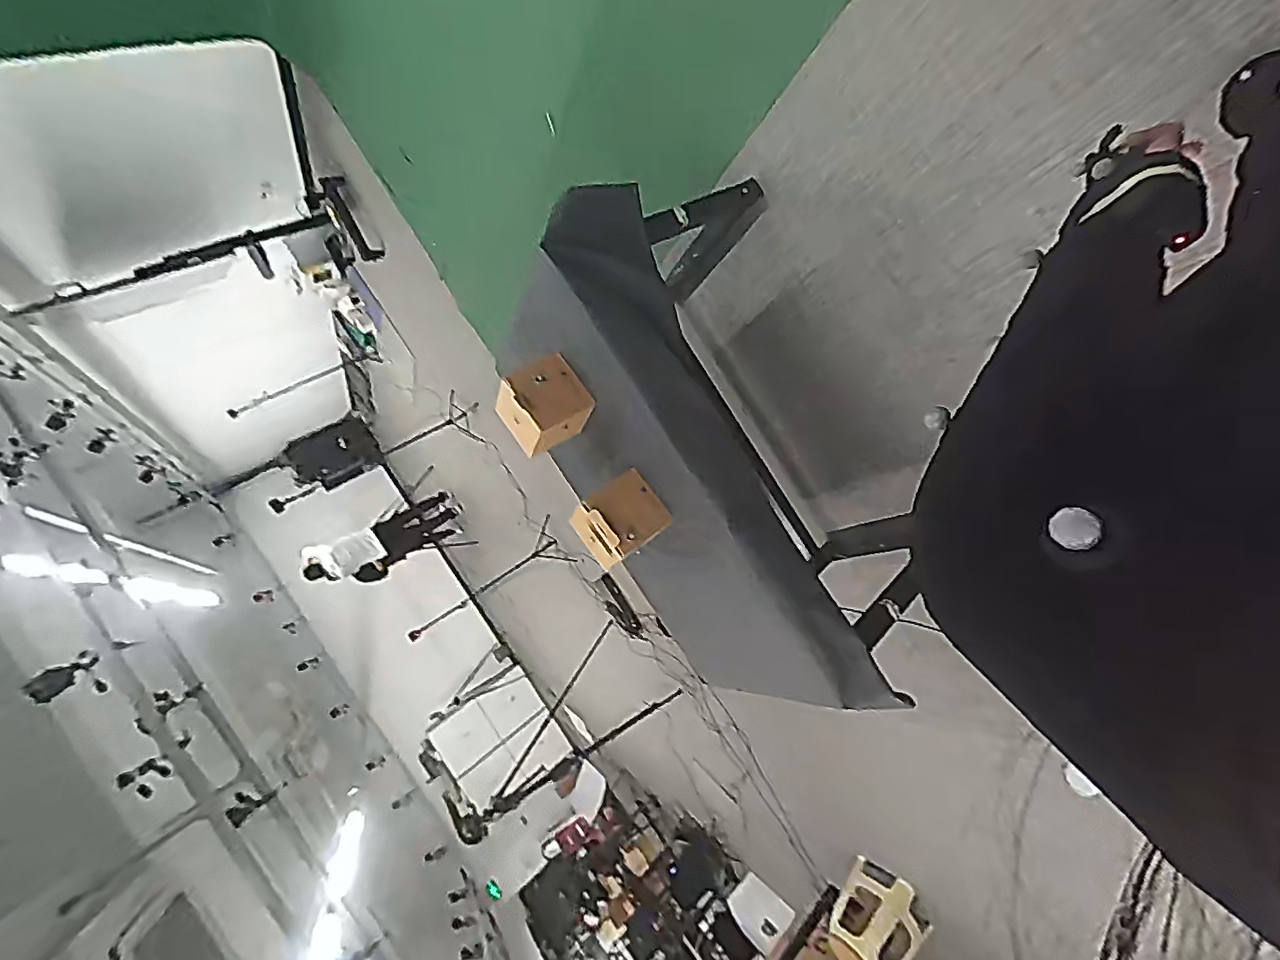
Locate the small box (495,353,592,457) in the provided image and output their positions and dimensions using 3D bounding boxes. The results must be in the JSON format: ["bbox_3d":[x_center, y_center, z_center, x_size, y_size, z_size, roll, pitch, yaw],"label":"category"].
[{"bbox_3d":[-0.244,-0.192,1.365,0.168,0.176,0.179,55,153,6],"label":"small box"}]
